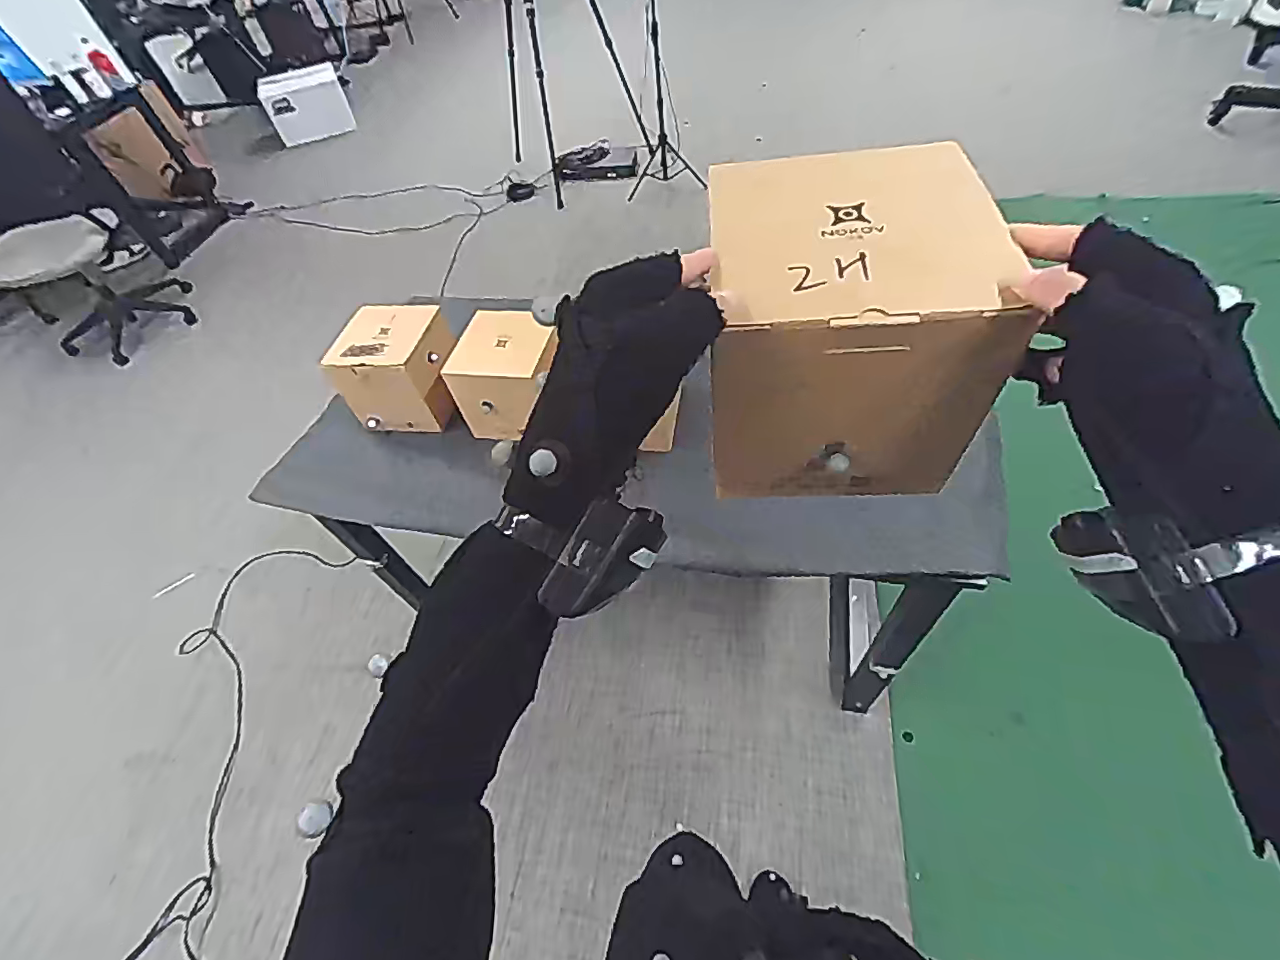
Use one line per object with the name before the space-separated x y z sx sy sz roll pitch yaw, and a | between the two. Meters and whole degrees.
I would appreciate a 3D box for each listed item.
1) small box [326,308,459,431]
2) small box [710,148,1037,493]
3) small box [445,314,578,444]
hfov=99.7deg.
small box | -0.452 -0.210 1.047 0.168 0.176 0.179 2 52 10
small box | 0.135 -0.109 0.395 0.168 0.176 0.179 -1 55 8
small box | -0.223 -0.184 0.996 0.168 0.176 0.179 5 53 12
